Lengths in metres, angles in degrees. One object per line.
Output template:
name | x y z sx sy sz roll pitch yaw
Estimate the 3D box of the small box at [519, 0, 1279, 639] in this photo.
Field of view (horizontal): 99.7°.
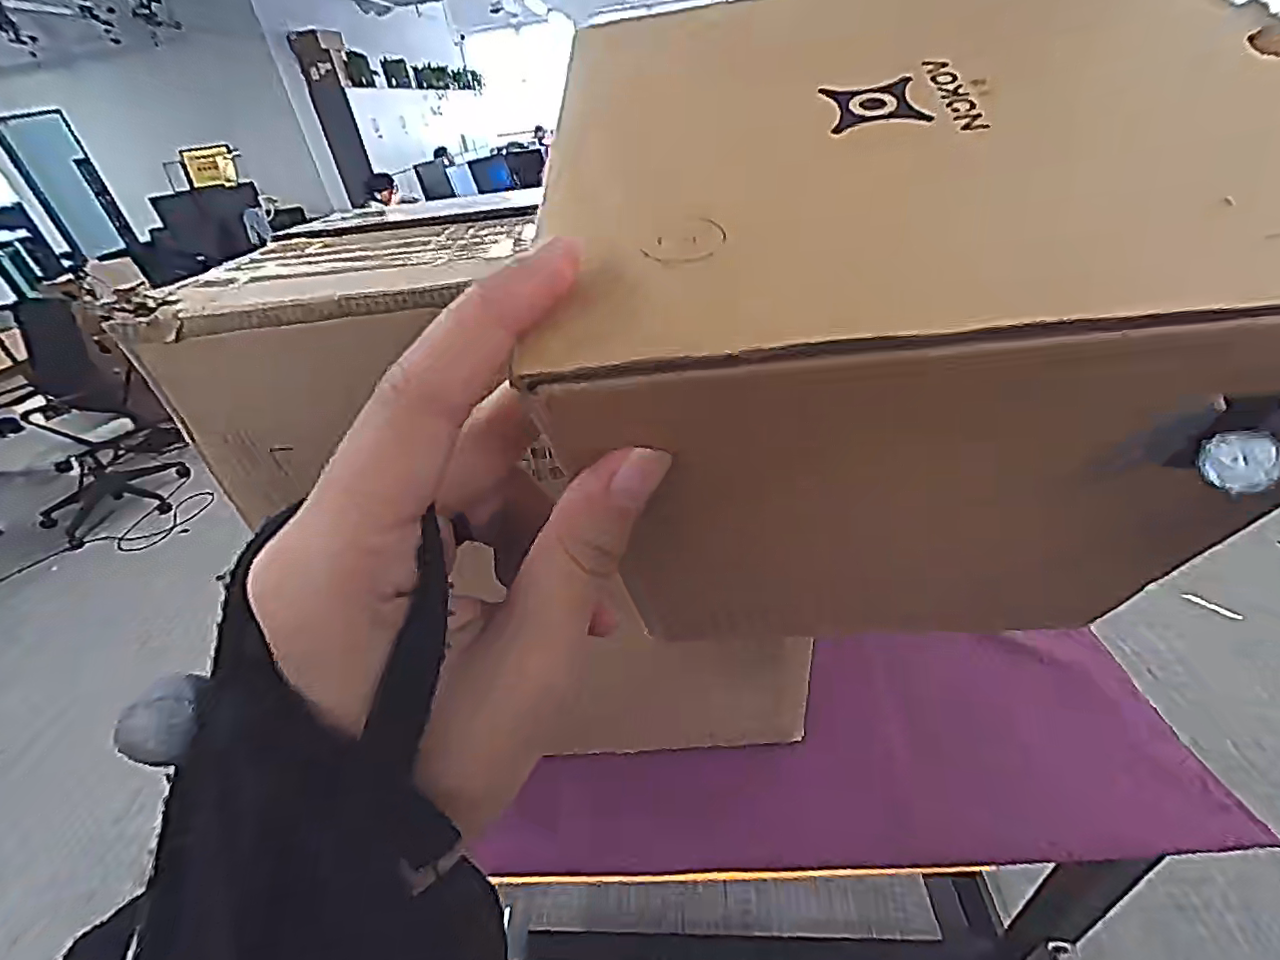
small box | 0.075 -0.045 0.201 0.179 0.176 0.168 -4 57 7
